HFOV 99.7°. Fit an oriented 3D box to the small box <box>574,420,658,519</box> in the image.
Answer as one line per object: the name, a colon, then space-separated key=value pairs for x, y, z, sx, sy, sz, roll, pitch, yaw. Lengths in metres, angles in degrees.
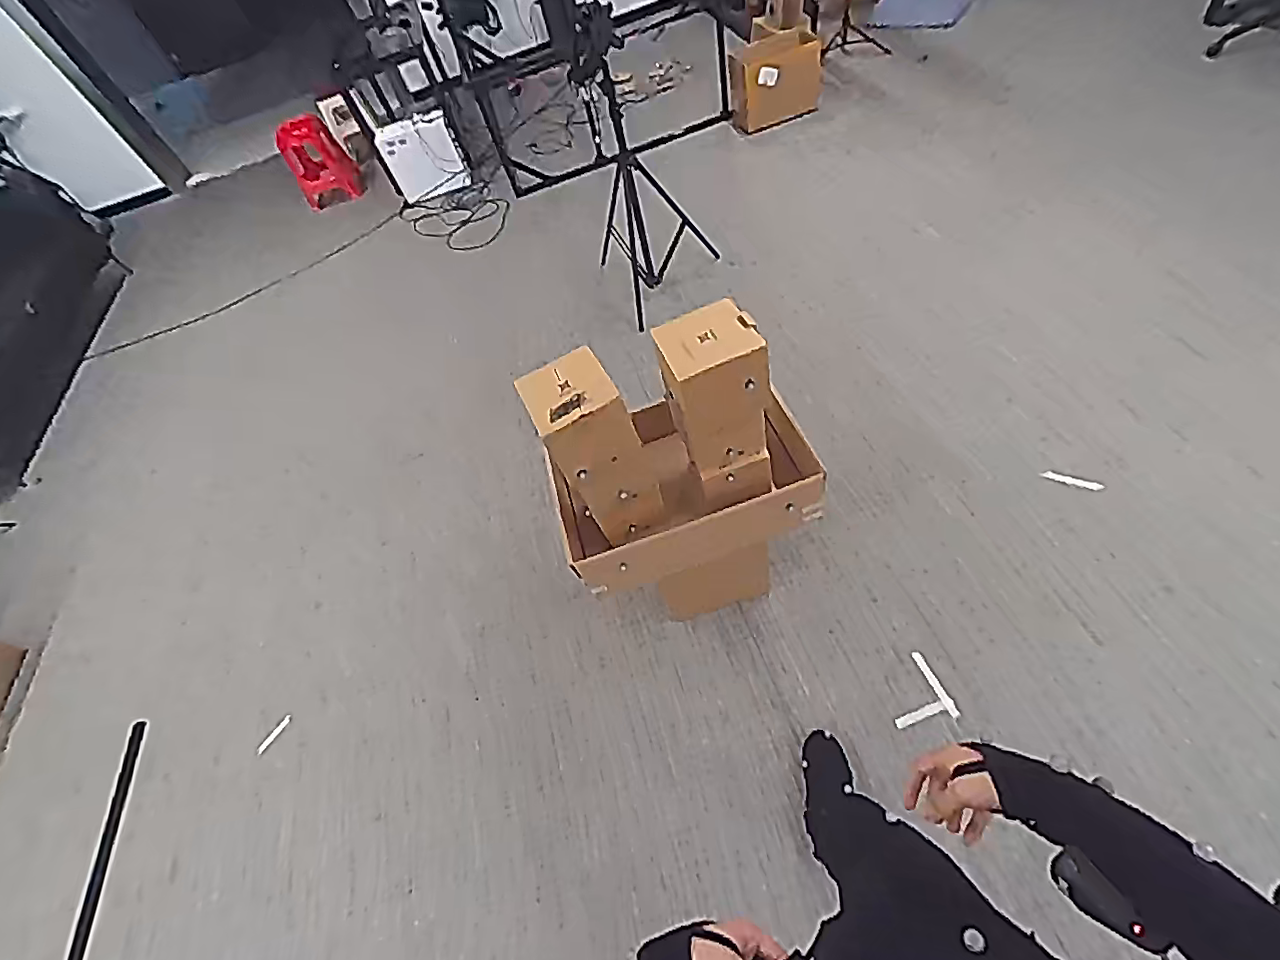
small box: x=-0.076 y=-0.045 z=1.217 sx=0.168 sy=0.176 sz=0.179 roll=-26 pitch=54 yaw=-3

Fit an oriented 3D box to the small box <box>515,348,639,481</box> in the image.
small box: x=-0.119 y=-0.121 z=1.077 sx=0.168 sy=0.176 sz=0.179 roll=-28 pitch=53 yaw=-5

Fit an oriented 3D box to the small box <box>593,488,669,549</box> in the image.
small box: x=-0.045 y=0.040 z=1.355 sx=0.168 sy=0.176 sz=0.179 roll=-27 pitch=54 yaw=-3

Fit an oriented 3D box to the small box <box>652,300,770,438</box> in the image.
small box: x=0.142 y=-0.216 z=1.068 sx=0.179 sy=0.176 sz=0.168 roll=-23 pitch=52 yaw=-1
